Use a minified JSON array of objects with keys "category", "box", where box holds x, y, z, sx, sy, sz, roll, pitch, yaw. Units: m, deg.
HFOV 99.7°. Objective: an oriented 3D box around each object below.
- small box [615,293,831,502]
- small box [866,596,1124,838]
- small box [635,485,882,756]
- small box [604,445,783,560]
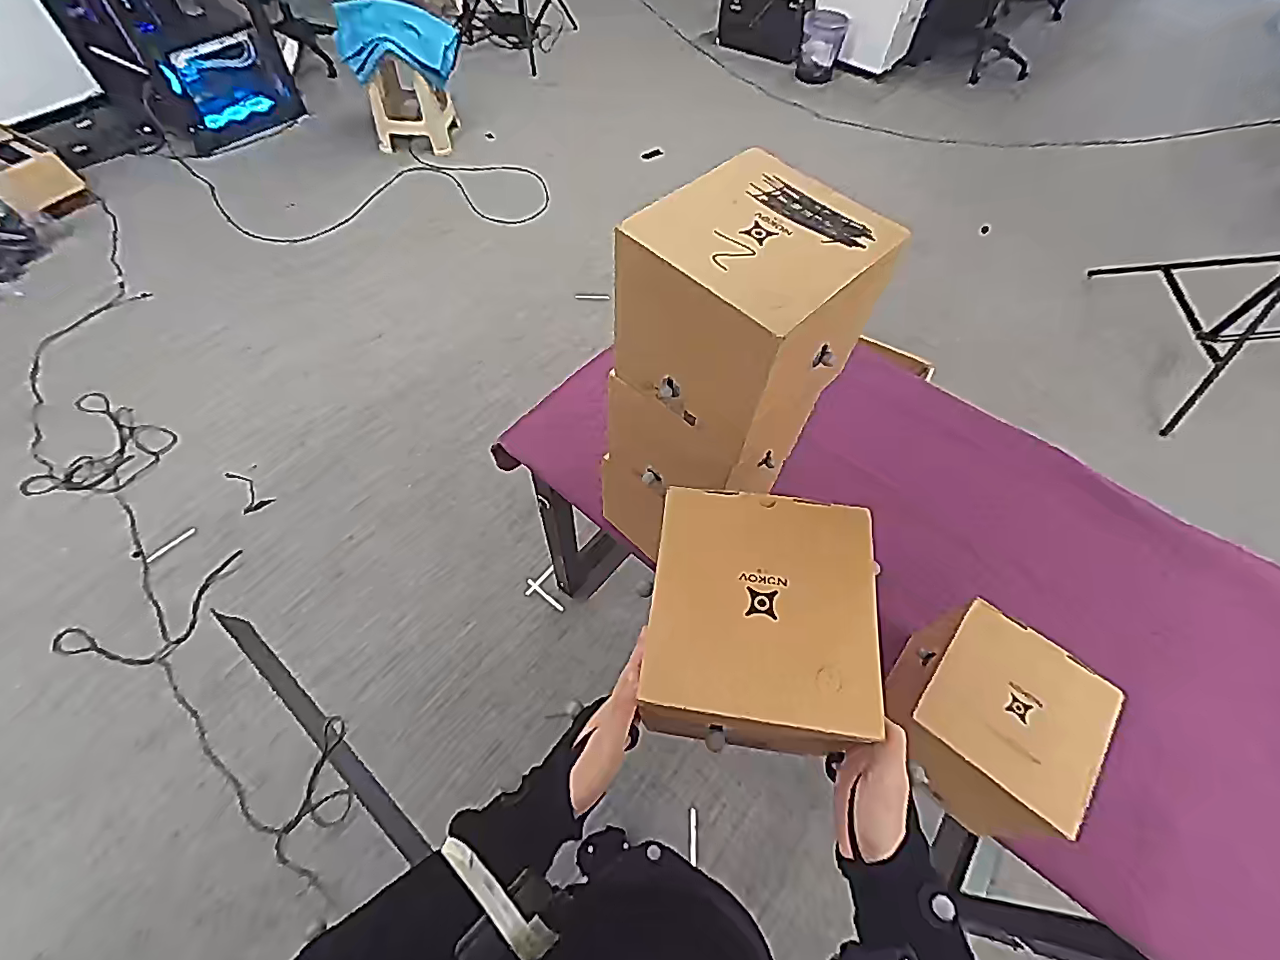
[{"category":"small box","box":[0.083,-0.074,0.631,0.168,0.176,0.179,39,65,19]},{"category":"small box","box":[0.392,0.273,0.627,0.168,0.176,0.179,36,64,19]},{"category":"small box","box":[0.094,0.127,0.468,0.168,0.176,0.179,6,58,7]},{"category":"small box","box":[0.067,0.016,0.768,0.179,0.176,0.168,40,64,20]}]
